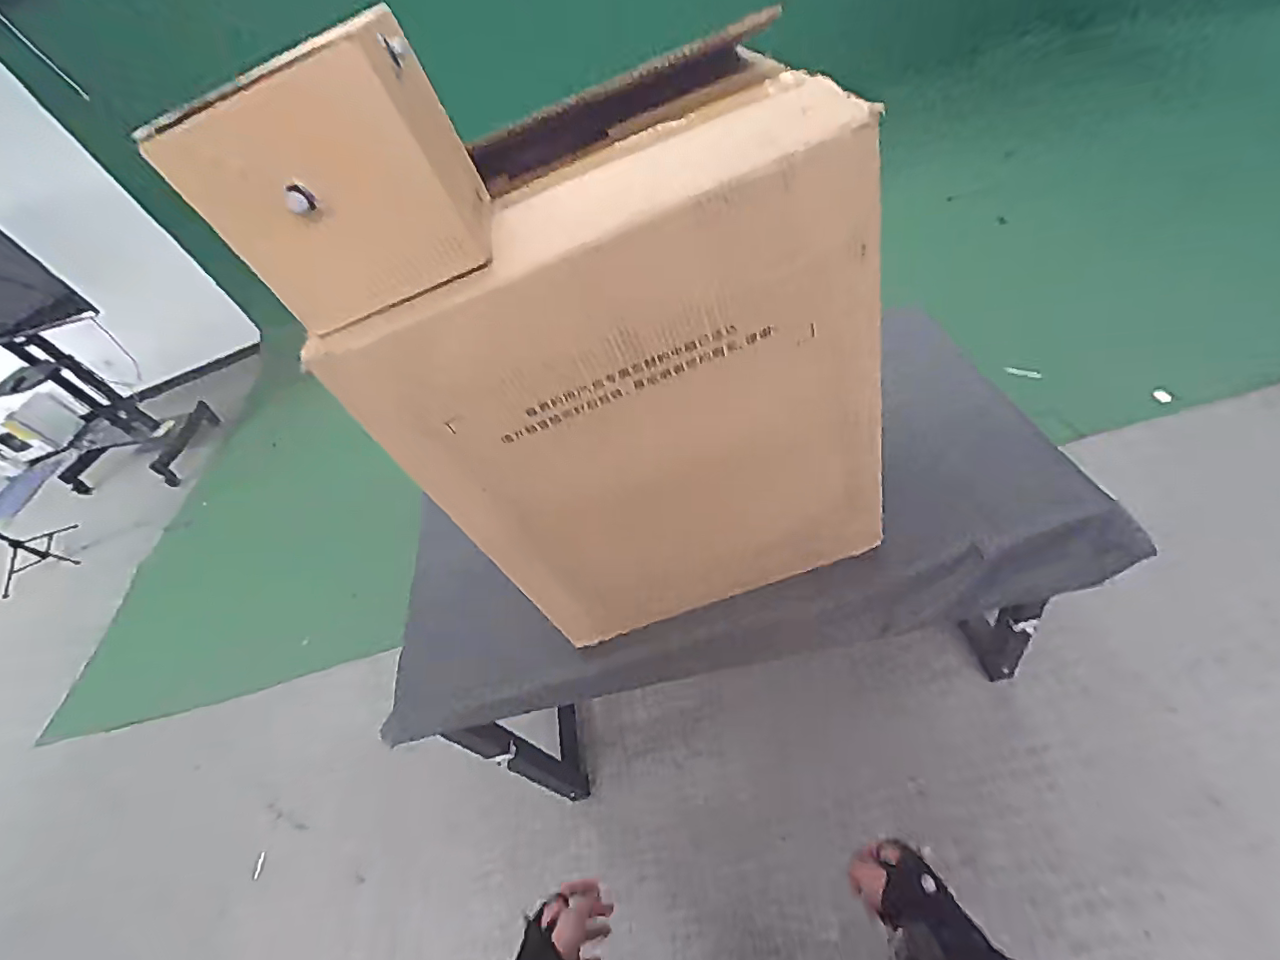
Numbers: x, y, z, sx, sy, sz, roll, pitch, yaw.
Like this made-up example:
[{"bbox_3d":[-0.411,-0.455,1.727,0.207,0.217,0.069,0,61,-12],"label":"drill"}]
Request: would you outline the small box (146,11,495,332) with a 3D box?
[{"bbox_3d":[-0.250,-0.261,0.474,0.179,0.176,0.168,-21,47,8],"label":"small box"}]
